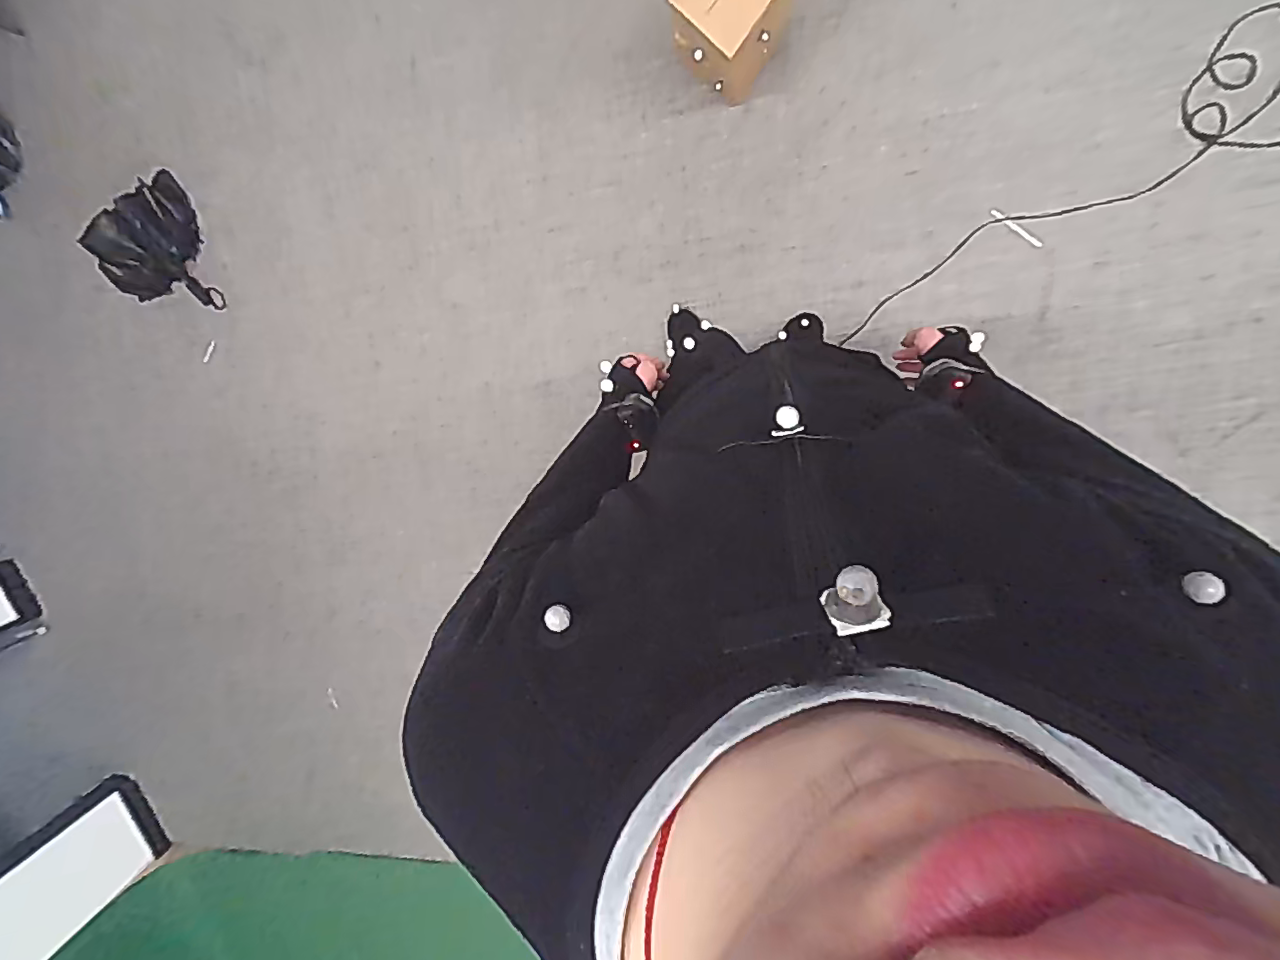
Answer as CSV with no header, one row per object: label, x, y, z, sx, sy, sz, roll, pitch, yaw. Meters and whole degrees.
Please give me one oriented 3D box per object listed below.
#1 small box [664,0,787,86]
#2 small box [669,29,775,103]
small box,0.169,-0.914,1.037,0.168,0.176,0.179,42,113,-4
small box,0.189,-0.979,1.188,0.168,0.176,0.179,34,111,-1
